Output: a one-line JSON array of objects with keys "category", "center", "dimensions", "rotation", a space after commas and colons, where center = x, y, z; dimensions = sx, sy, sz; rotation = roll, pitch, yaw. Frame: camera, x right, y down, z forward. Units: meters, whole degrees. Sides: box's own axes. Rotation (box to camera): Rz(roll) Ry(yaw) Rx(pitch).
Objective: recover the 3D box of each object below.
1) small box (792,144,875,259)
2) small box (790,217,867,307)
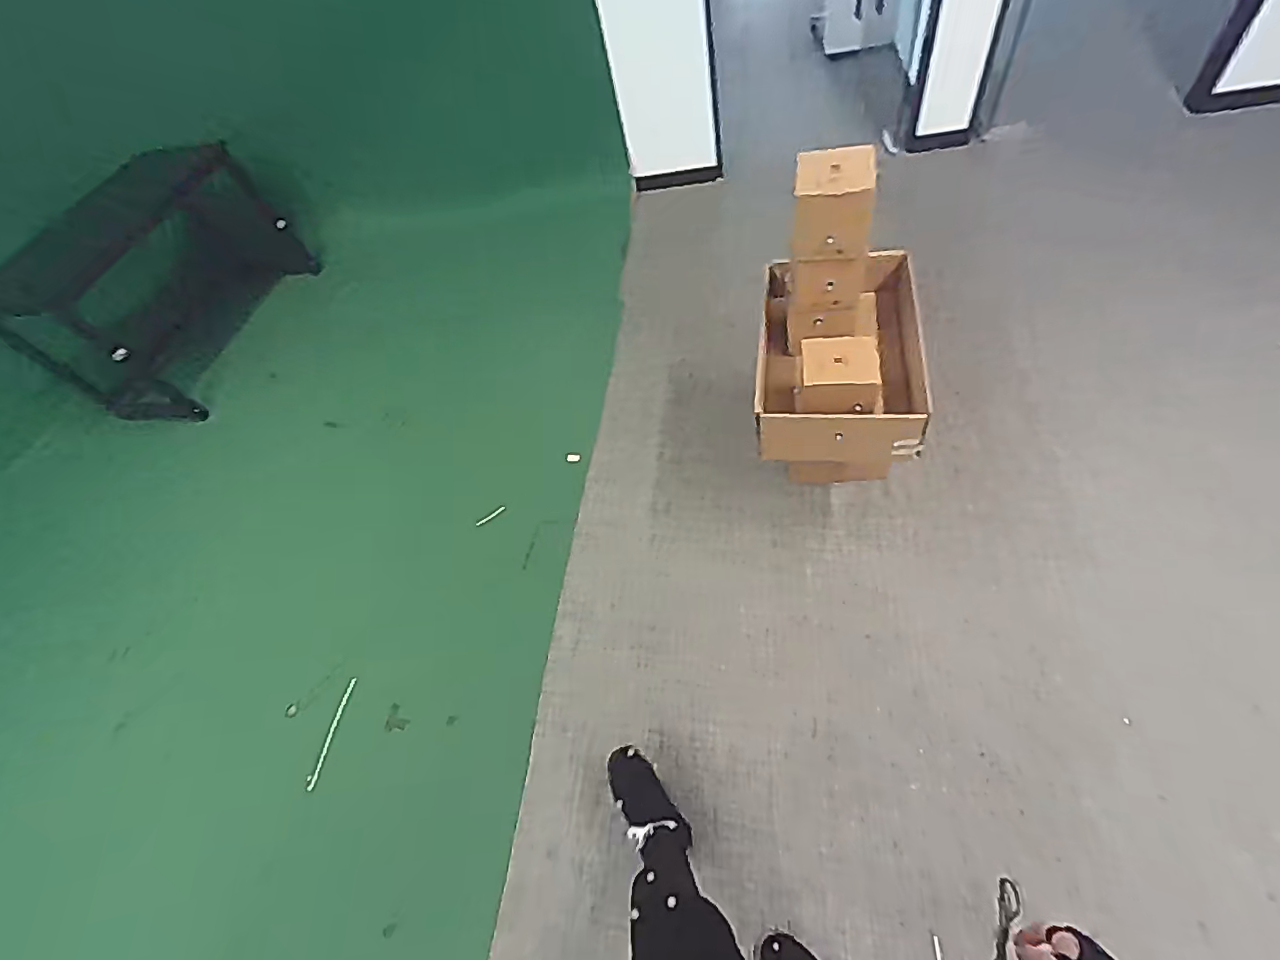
[{"category": "small box", "center": [0.441, -0.637, 1.247], "dimensions": [0.168, 0.176, 0.179], "rotation": [3, 59, 17]}, {"category": "small box", "center": [0.477, -0.563, 1.391], "dimensions": [0.168, 0.176, 0.179], "rotation": [-3, 58, 12]}]
